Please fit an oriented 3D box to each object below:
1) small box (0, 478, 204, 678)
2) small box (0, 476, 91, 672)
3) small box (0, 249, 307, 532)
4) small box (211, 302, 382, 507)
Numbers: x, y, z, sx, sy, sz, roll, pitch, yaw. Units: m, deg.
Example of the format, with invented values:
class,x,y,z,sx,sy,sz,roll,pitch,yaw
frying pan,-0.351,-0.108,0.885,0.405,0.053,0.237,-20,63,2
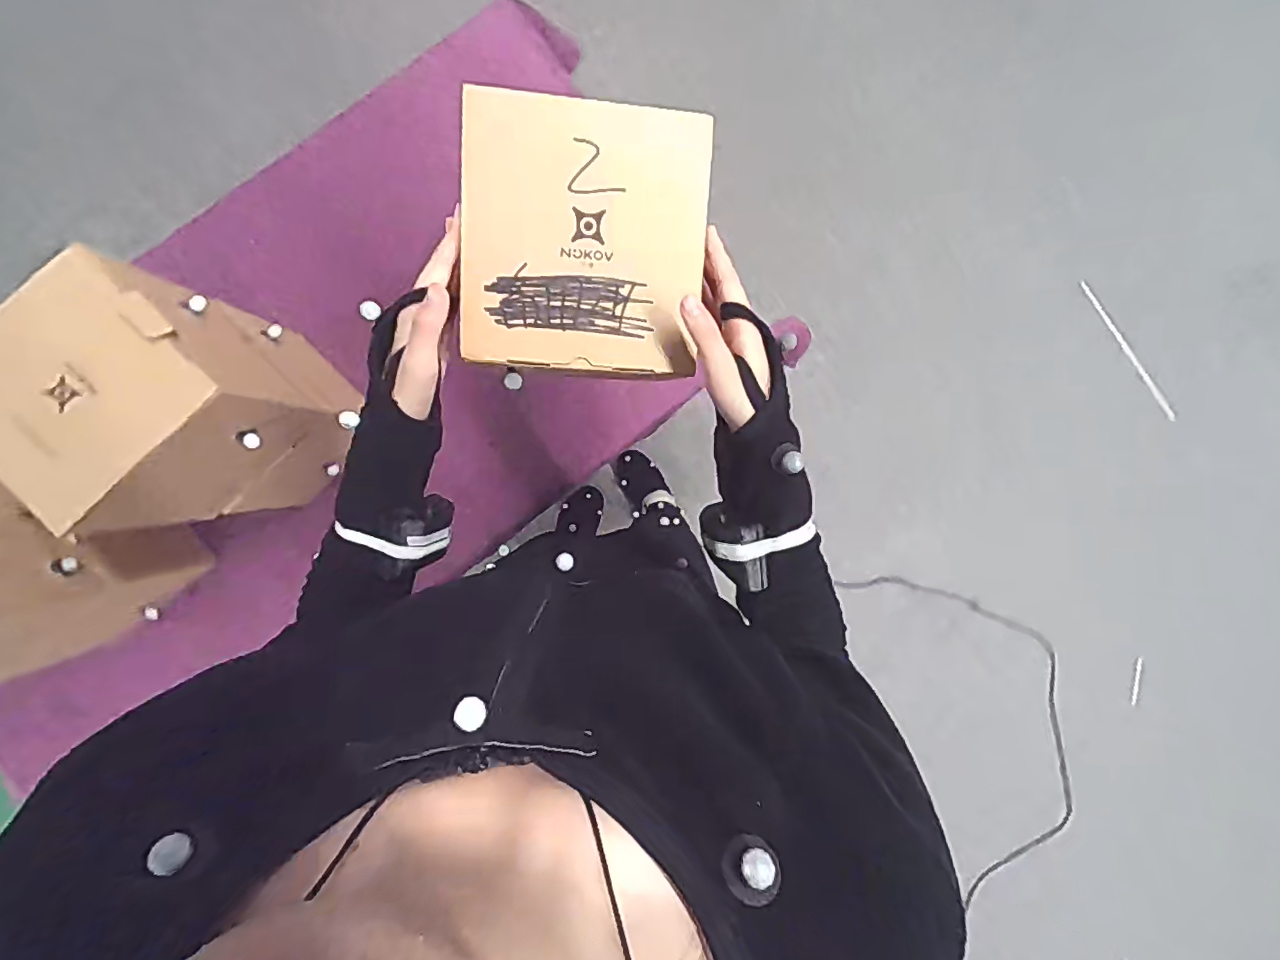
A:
class,x,y,z,sx,sy,sz,roll,pitch,yaw
small box,-0.704,0.104,0.676,0.179,0.176,0.168,-39,93,-1
small box,-0.695,0.108,0.512,0.179,0.176,0.168,-39,93,0
small box,-0.465,-0.075,0.520,0.179,0.176,0.168,-42,92,0
small box,-0.473,-0.085,0.683,0.168,0.176,0.179,-45,94,0
